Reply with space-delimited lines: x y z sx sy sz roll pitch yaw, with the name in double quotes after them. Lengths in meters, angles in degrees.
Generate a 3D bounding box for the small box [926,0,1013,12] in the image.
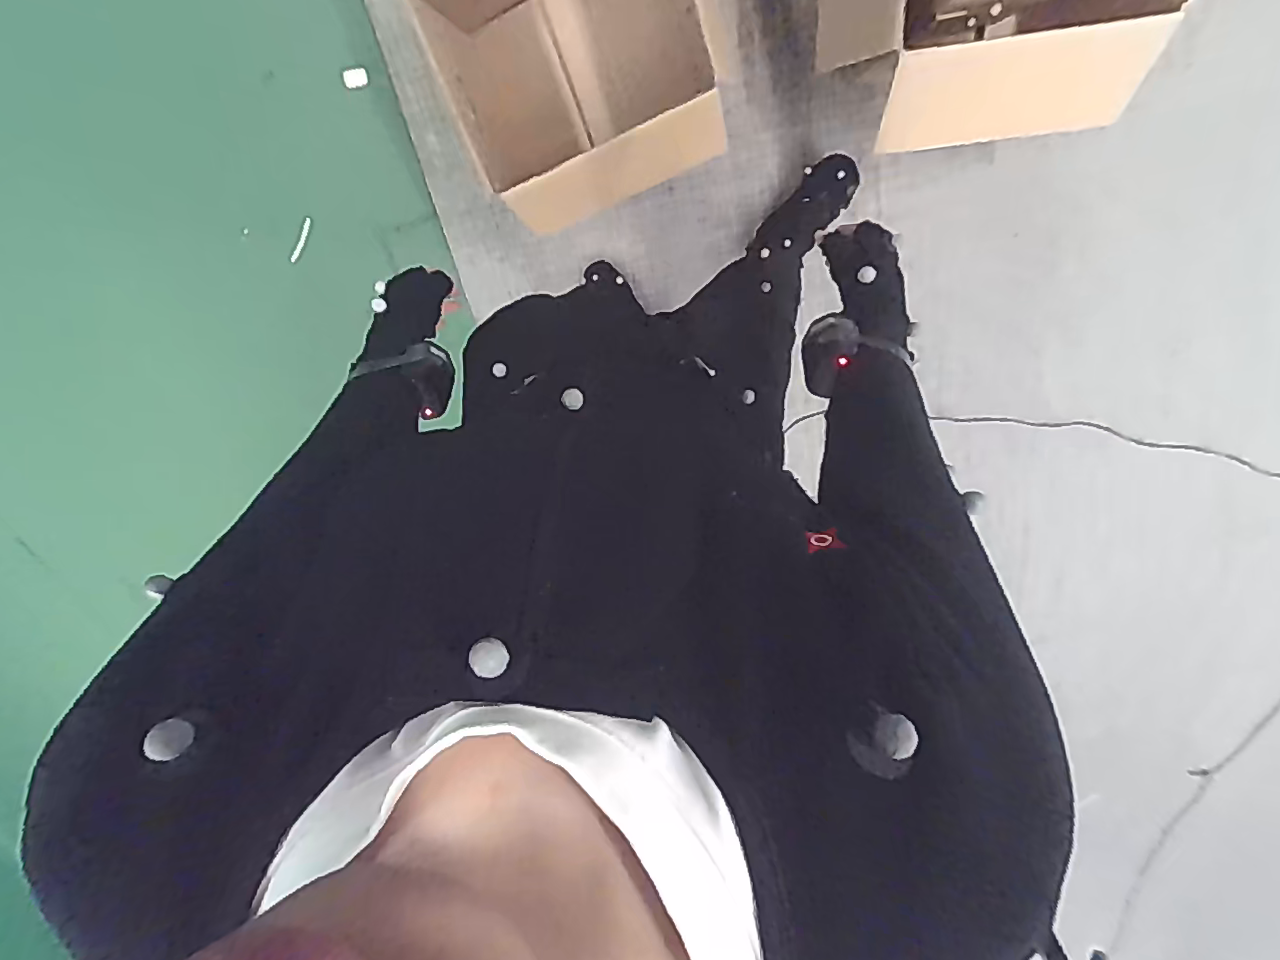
0.540 -0.805 0.770 0.179 0.176 0.168 -3 117 7 "small box"
